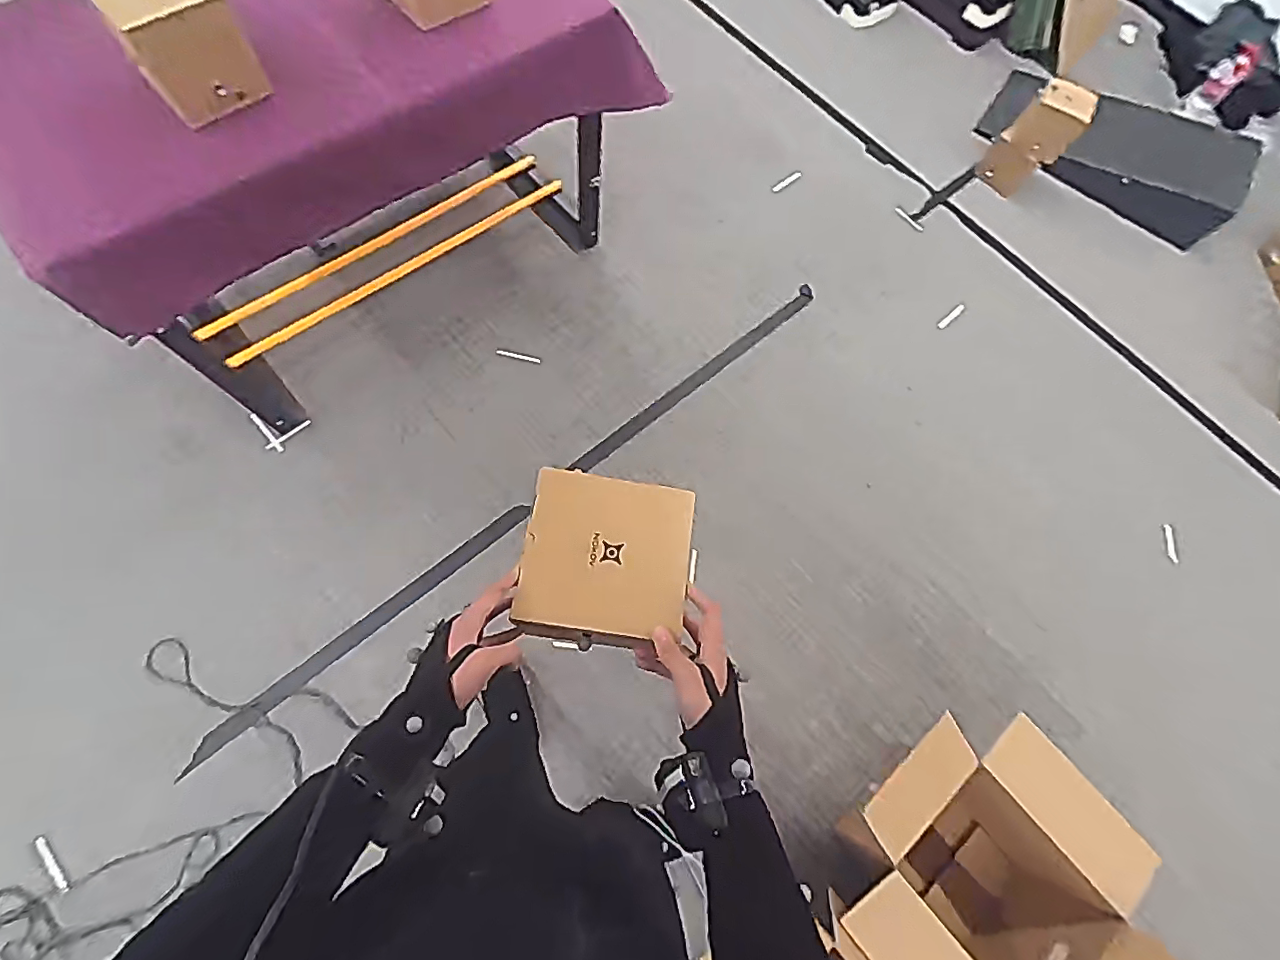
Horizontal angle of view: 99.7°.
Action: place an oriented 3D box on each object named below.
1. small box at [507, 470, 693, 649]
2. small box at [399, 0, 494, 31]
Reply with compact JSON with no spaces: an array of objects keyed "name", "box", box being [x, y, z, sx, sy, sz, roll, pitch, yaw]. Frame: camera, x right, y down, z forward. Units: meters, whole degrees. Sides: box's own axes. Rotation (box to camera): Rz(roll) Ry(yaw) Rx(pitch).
[{"name":"small box","box":[-0.044,0.104,0.640,0.179,0.176,0.168,8,69,-2]},{"name":"small box","box":[-0.417,-1.059,1.087,0.179,0.176,0.168,-39,79,-17]}]
